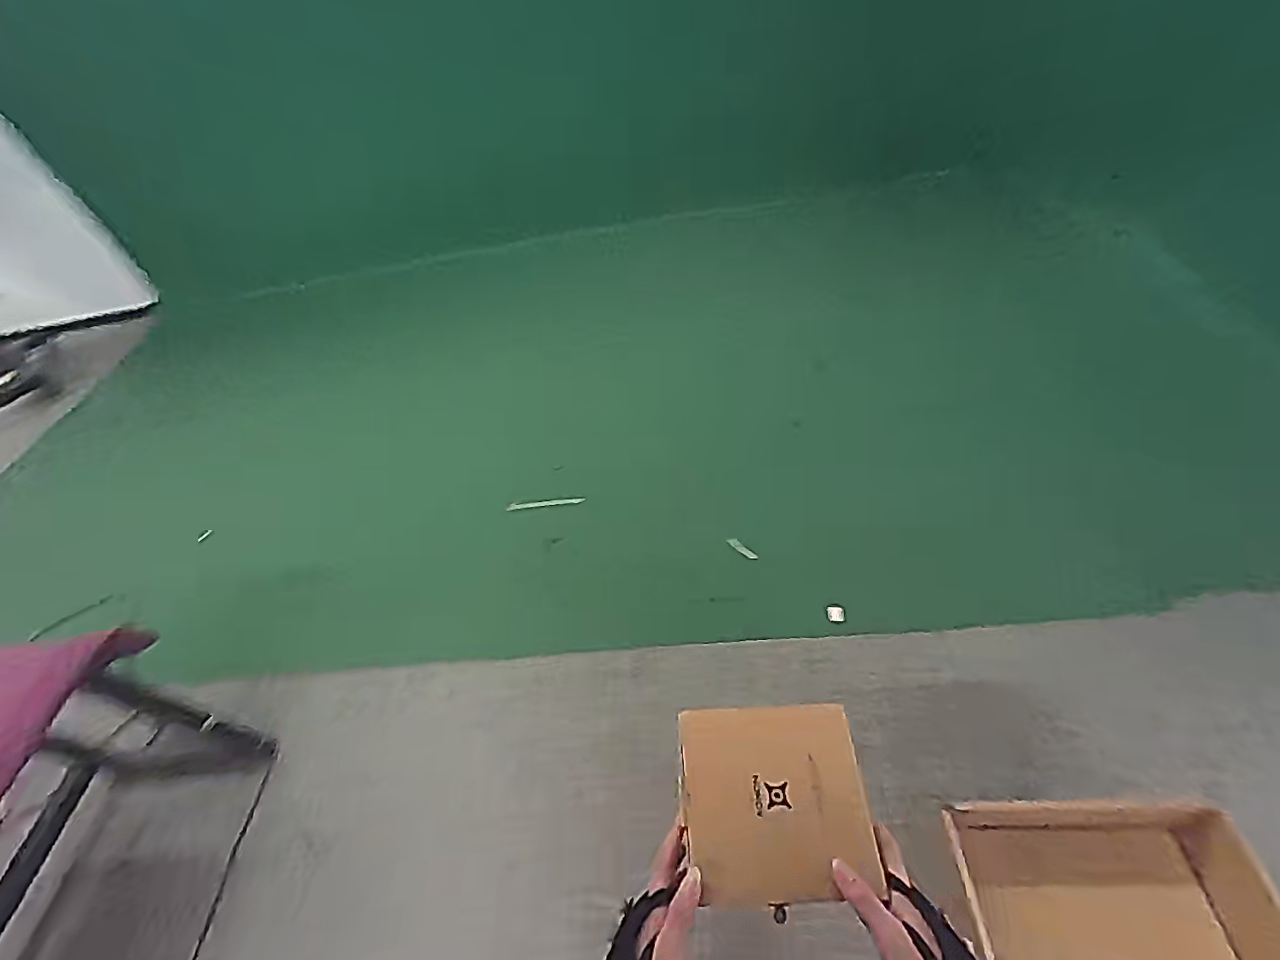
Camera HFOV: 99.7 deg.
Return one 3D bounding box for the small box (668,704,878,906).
[{"bbox_3d":[0.125,0.353,0.583,0.179,0.176,0.168,-4,53,1],"label":"small box"}]
